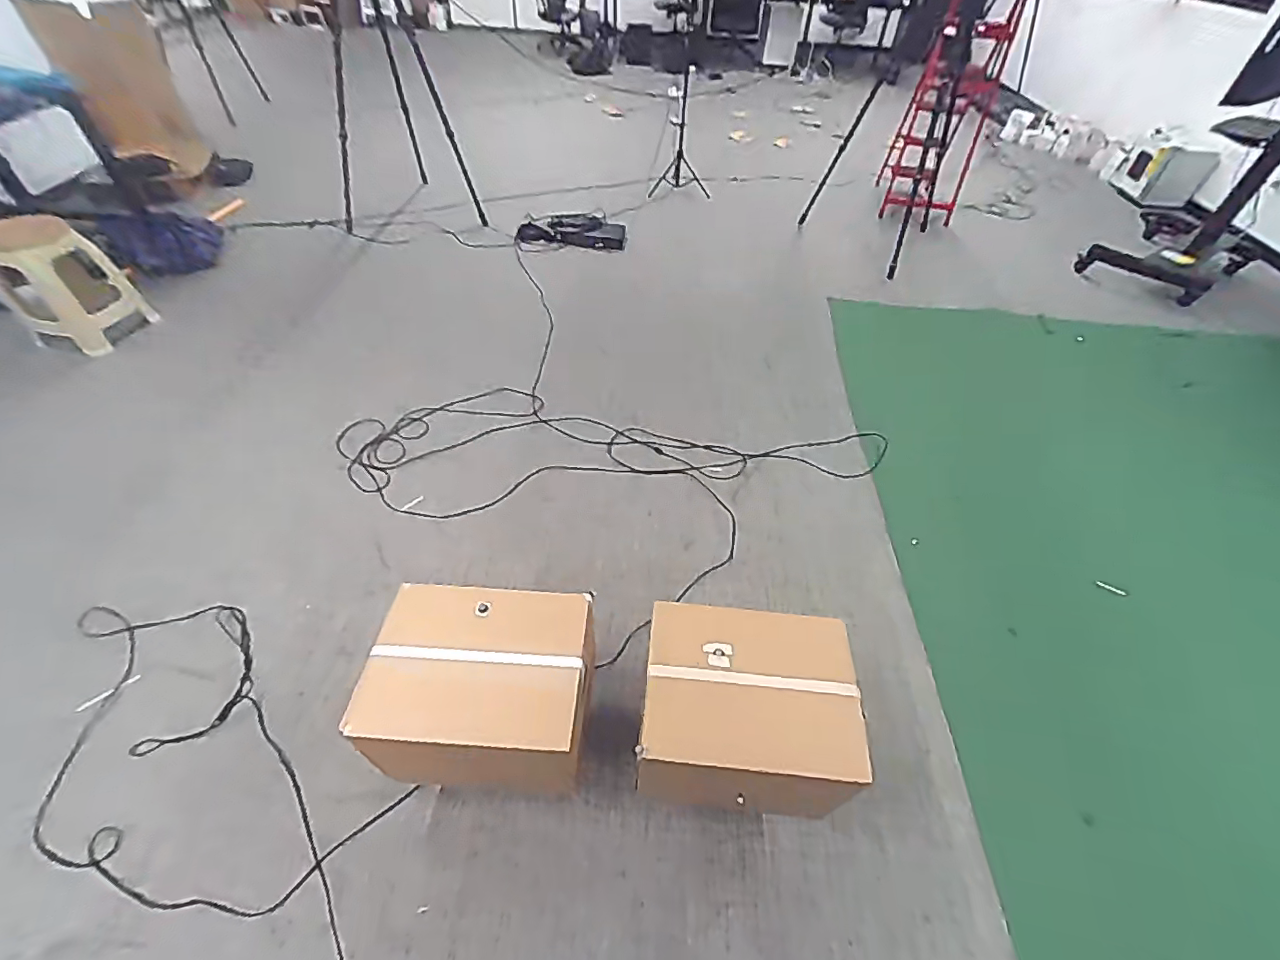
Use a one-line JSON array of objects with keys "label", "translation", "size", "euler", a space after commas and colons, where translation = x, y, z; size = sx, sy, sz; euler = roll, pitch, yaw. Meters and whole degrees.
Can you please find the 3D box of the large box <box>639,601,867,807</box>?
[{"label": "large box", "translation": [0.214, 0.487, 1.164], "size": [0.408, 0.320, 0.320], "euler": [6, 48, 3]}]
